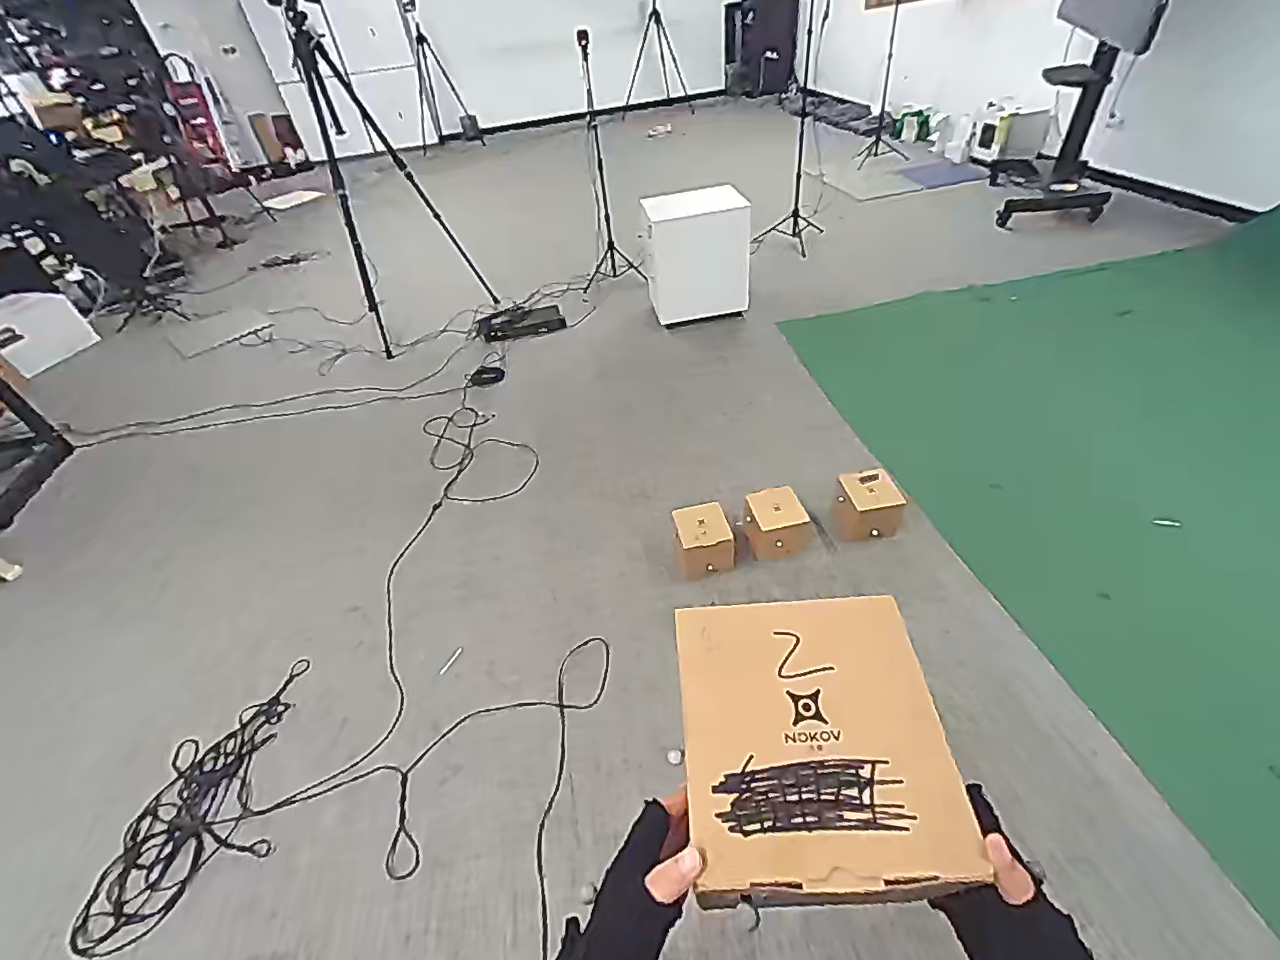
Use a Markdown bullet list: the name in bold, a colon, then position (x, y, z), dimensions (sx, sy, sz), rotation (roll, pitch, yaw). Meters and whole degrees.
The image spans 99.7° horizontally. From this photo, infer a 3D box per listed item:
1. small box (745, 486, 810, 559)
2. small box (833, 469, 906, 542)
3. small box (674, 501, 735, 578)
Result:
- **small box**: position (0.464, 0.151, 1.850), dimensions (0.168, 0.176, 0.179), rotation (-12, 42, -5)
- **small box**: position (0.783, 0.088, 1.869), dimensions (0.168, 0.176, 0.179), rotation (-9, 44, -2)
- **small box**: position (0.215, 0.202, 1.827), dimensions (0.168, 0.176, 0.179), rotation (-12, 43, -3)
